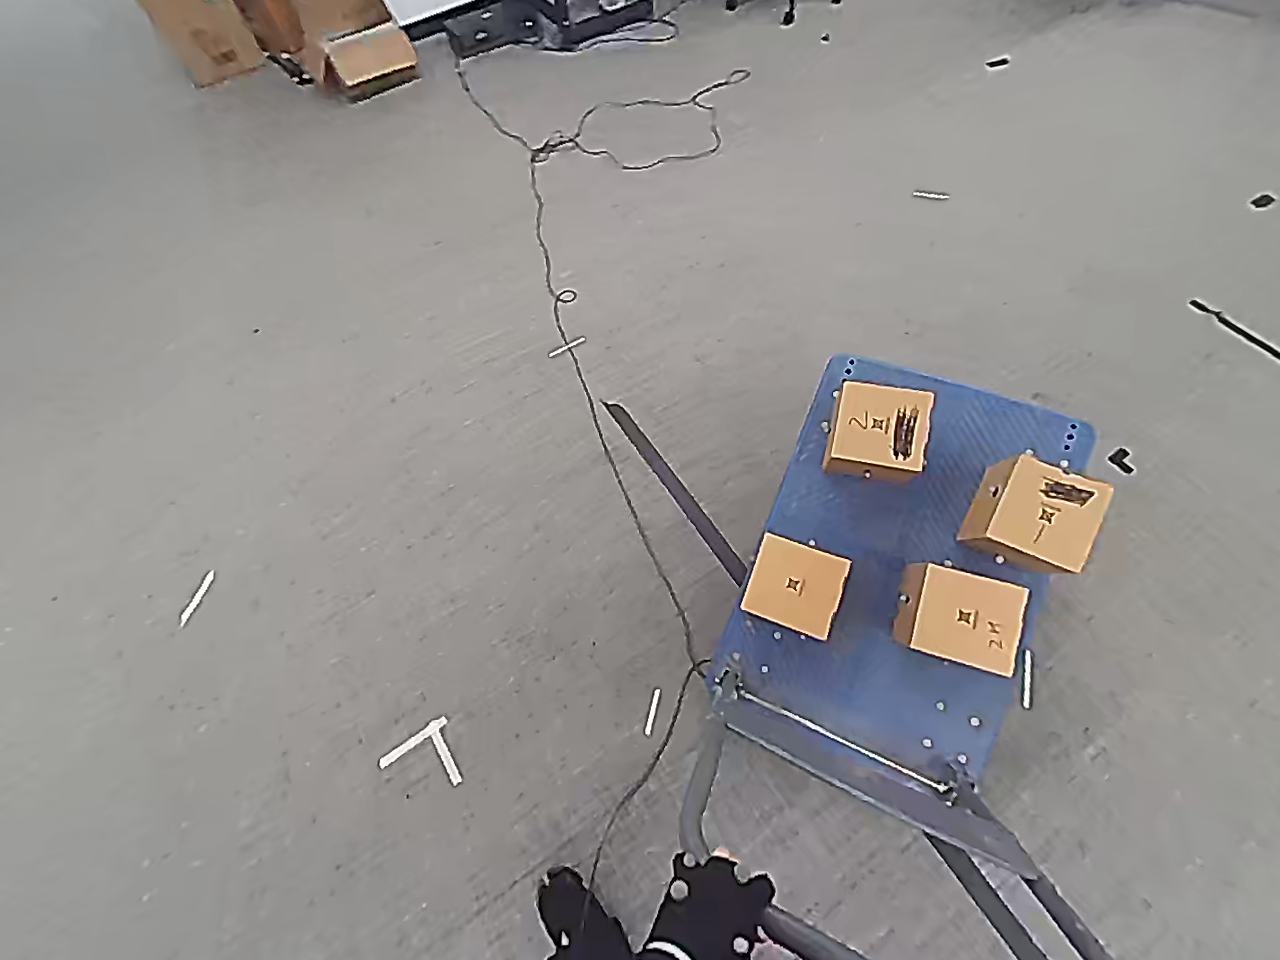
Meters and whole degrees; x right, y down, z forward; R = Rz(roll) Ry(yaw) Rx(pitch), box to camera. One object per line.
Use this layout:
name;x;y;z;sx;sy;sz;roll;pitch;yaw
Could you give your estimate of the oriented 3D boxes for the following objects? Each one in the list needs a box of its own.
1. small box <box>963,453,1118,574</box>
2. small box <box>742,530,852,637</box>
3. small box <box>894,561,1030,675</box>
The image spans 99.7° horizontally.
small box;0.776;0.070;1.070;0.168;0.176;0.179;25;88;16
small box;0.327;0.217;1.151;0.179;0.176;0.168;19;85;14
small box;0.625;0.266;1.072;0.179;0.176;0.168;15;84;15
